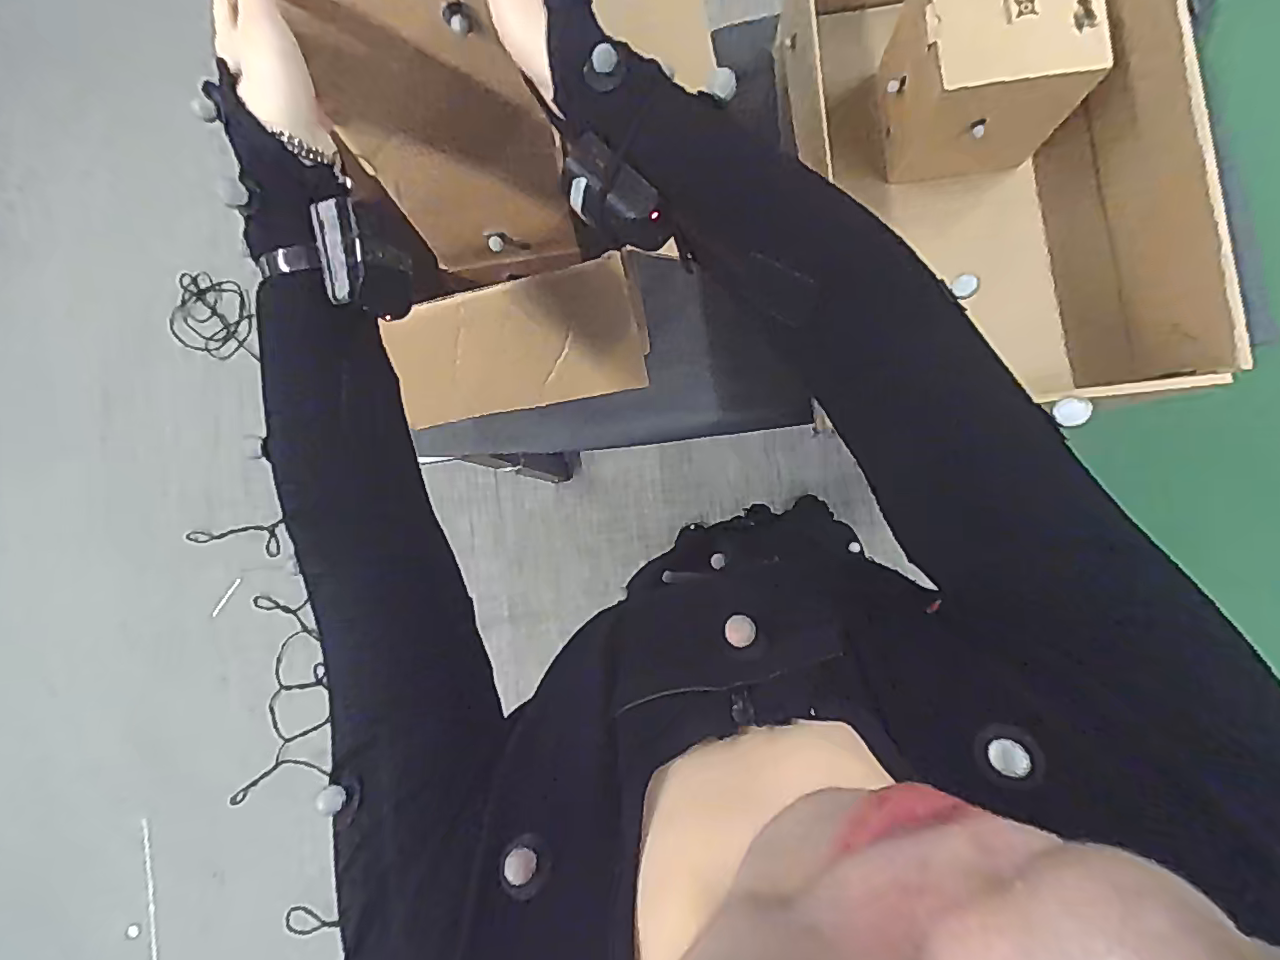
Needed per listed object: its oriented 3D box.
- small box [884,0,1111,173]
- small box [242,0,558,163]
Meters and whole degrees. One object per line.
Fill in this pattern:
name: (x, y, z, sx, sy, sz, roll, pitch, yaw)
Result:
small box: (0.410, -0.506, 0.657, 0.179, 0.176, 0.168, -5, 87, 7)
small box: (-0.170, -0.374, 0.412, 0.179, 0.176, 0.168, -7, 84, 1)
